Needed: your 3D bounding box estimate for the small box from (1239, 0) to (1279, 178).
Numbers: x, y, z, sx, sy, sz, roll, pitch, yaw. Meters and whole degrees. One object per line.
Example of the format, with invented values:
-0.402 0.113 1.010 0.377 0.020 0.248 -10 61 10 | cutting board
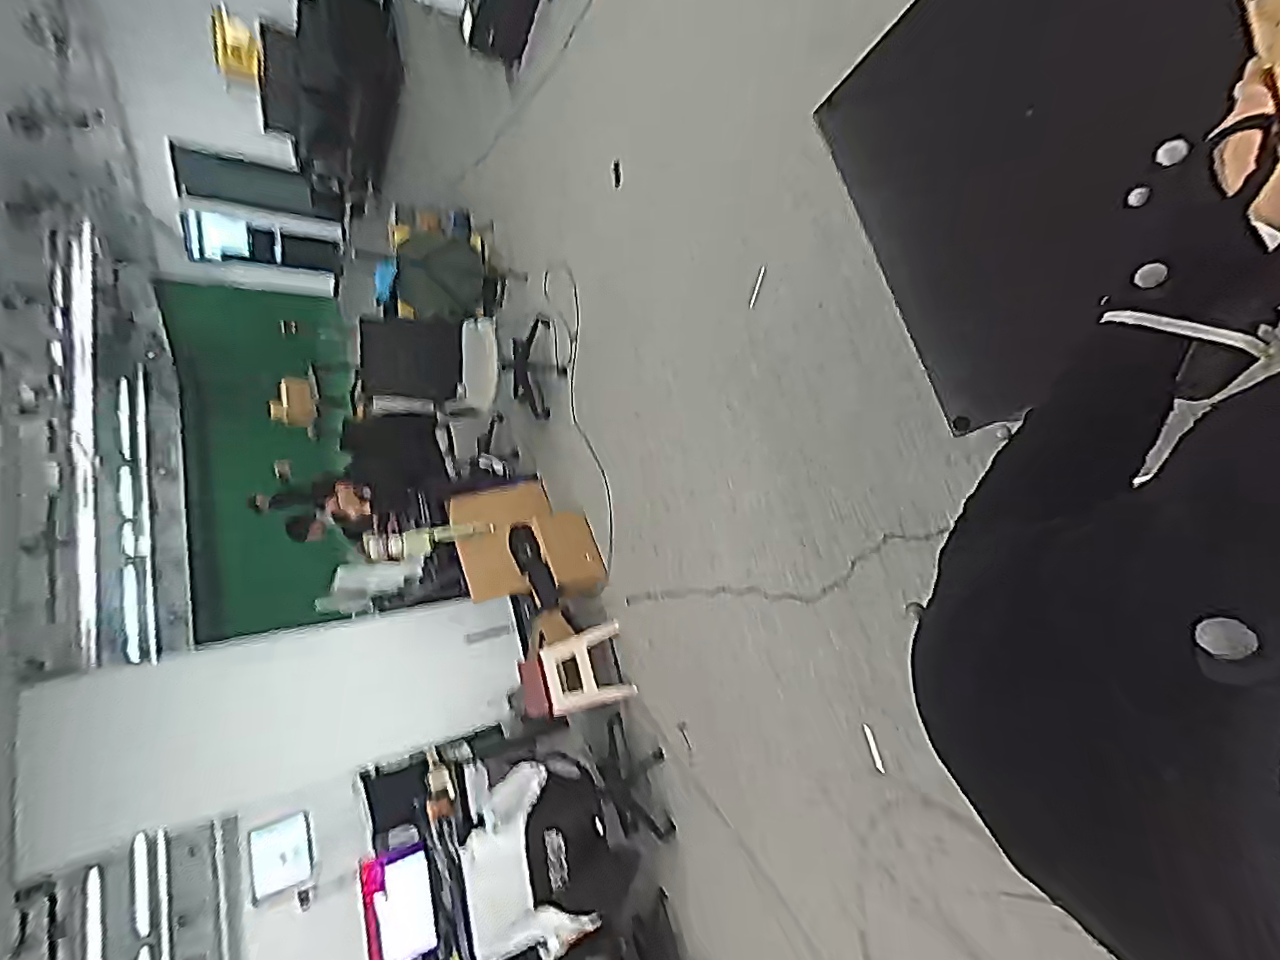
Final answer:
0.504 -0.314 0.329 0.179 0.176 0.168 -12 92 52 | small box
